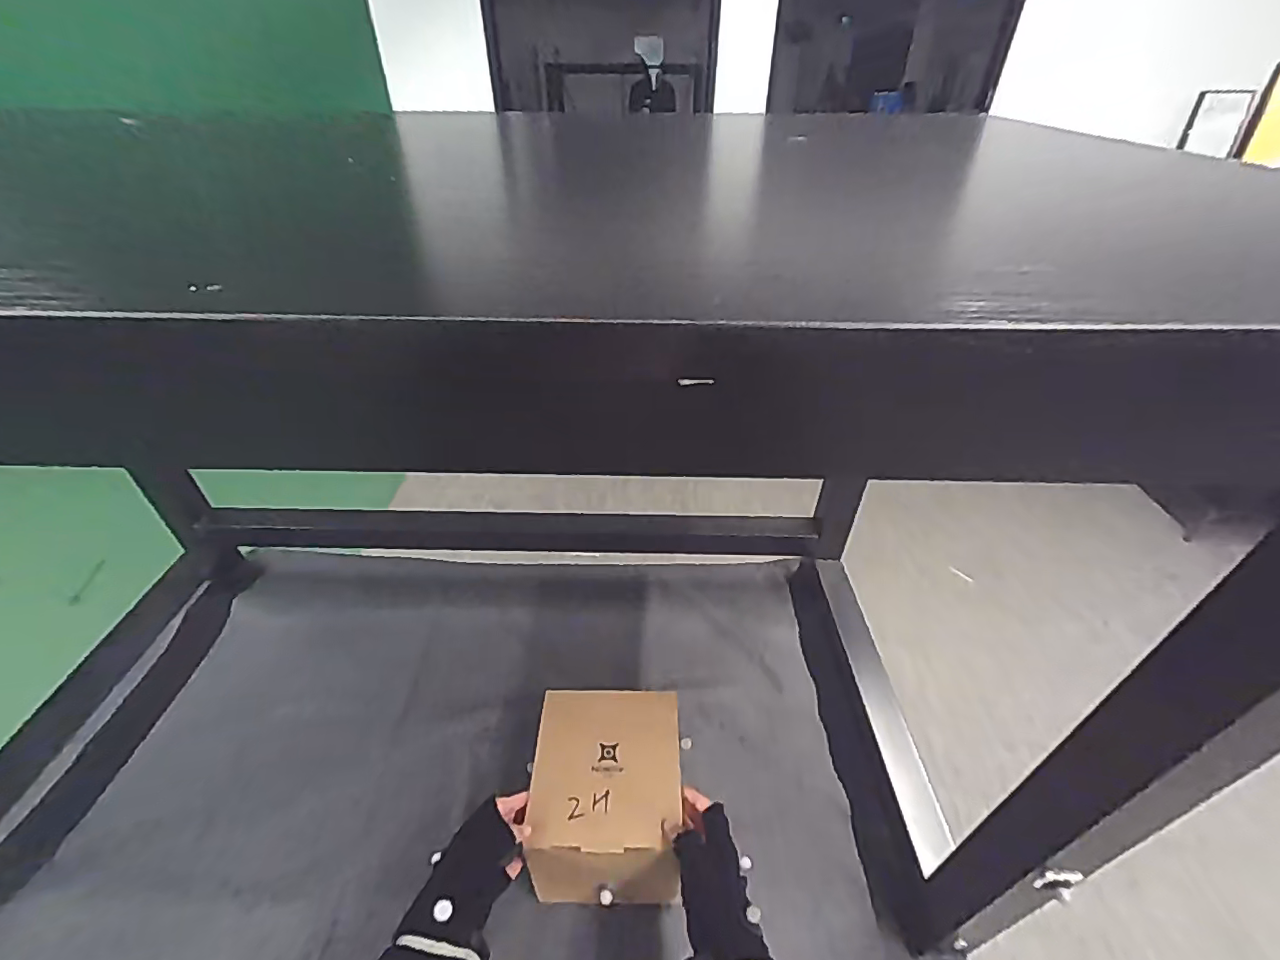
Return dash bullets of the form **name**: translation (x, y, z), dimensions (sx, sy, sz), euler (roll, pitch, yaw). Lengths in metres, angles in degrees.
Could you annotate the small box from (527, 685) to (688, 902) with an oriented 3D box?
- **small box**: translation (-0.032, 0.375, 0.655), dimensions (0.168, 0.176, 0.179), euler (0, 37, 1)
